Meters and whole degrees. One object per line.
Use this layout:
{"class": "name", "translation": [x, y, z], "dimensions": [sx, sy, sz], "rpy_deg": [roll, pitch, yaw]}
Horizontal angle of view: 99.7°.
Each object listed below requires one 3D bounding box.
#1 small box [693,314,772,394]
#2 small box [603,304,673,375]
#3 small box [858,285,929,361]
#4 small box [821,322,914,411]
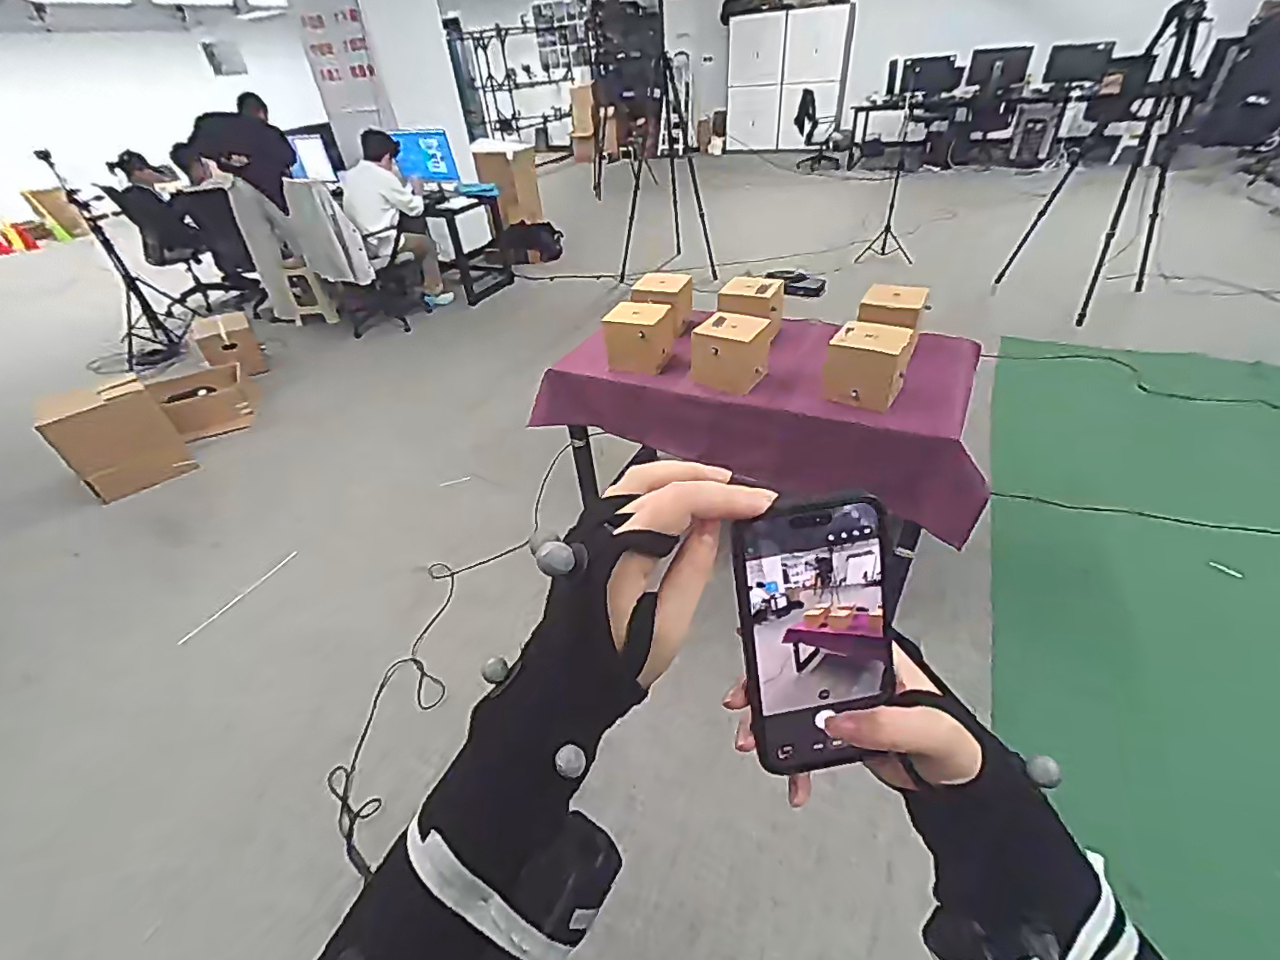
{"class": "small box", "translation": [0.269, -0.370, 1.589], "dimensions": [0.179, 0.176, 0.168], "rpy_deg": [20, 45, 28]}
{"class": "small box", "translation": [-0.002, -0.449, 1.727], "dimensions": [0.179, 0.176, 0.168], "rpy_deg": [11, 41, 19]}
{"class": "small box", "translation": [0.769, -0.482, 1.667], "dimensions": [0.168, 0.176, 0.179], "rpy_deg": [17, 44, 27]}
{"class": "small box", "translation": [0.611, -0.305, 1.462], "dimensions": [0.179, 0.176, 0.168], "rpy_deg": [20, 44, 29]}
